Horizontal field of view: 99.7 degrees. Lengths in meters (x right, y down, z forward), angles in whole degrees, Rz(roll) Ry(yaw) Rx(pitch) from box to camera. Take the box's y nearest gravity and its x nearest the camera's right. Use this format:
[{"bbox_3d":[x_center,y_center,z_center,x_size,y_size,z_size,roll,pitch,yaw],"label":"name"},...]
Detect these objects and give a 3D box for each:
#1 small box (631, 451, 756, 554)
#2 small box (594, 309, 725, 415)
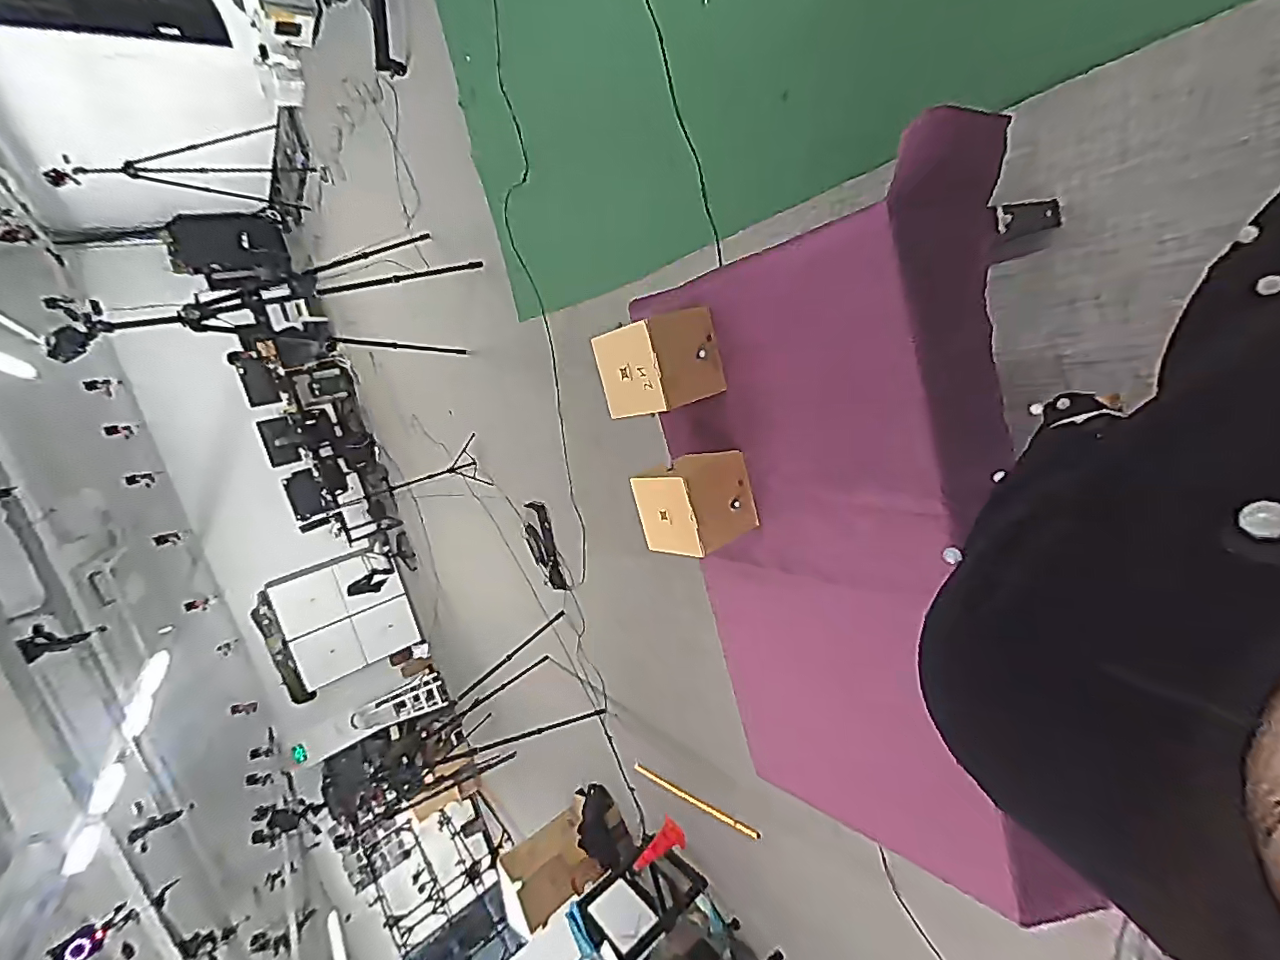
[{"bbox_3d":[0.112,0.041,1.133,0.179,0.176,0.168,-2,107,53],"label":"small box"},{"bbox_3d":[0.039,-0.232,1.072,0.179,0.176,0.168,1,110,51],"label":"small box"}]
